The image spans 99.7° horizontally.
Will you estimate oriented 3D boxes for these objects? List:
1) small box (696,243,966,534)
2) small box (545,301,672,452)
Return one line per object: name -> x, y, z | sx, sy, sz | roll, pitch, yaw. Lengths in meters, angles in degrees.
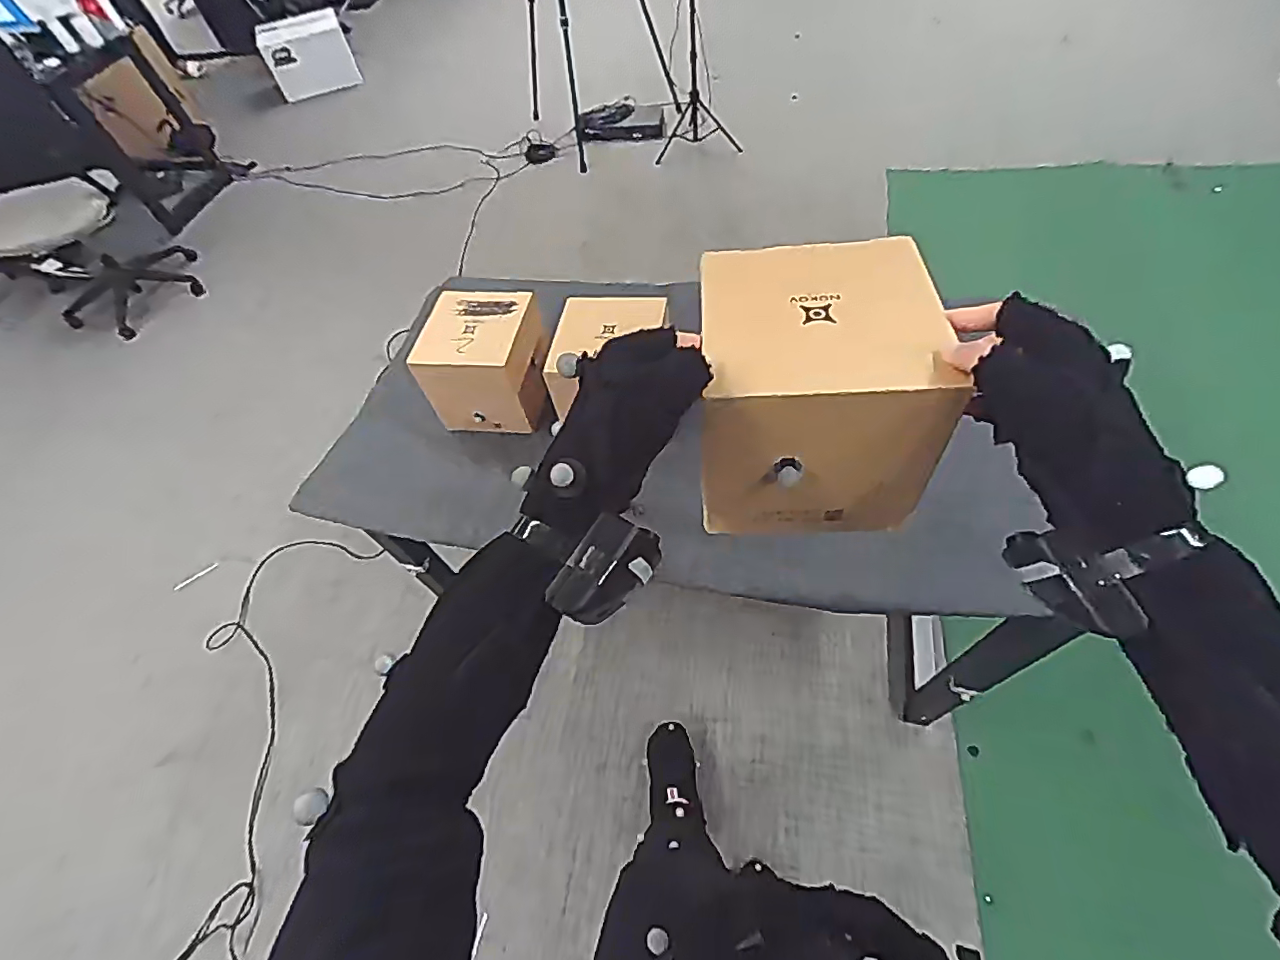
small box -> 0.134, -0.067, 0.449 | 0.168, 0.176, 0.179 | -2, 51, 8
small box -> -0.040, -0.170, 0.889 | 0.168, 0.176, 0.179 | 4, 56, 10
